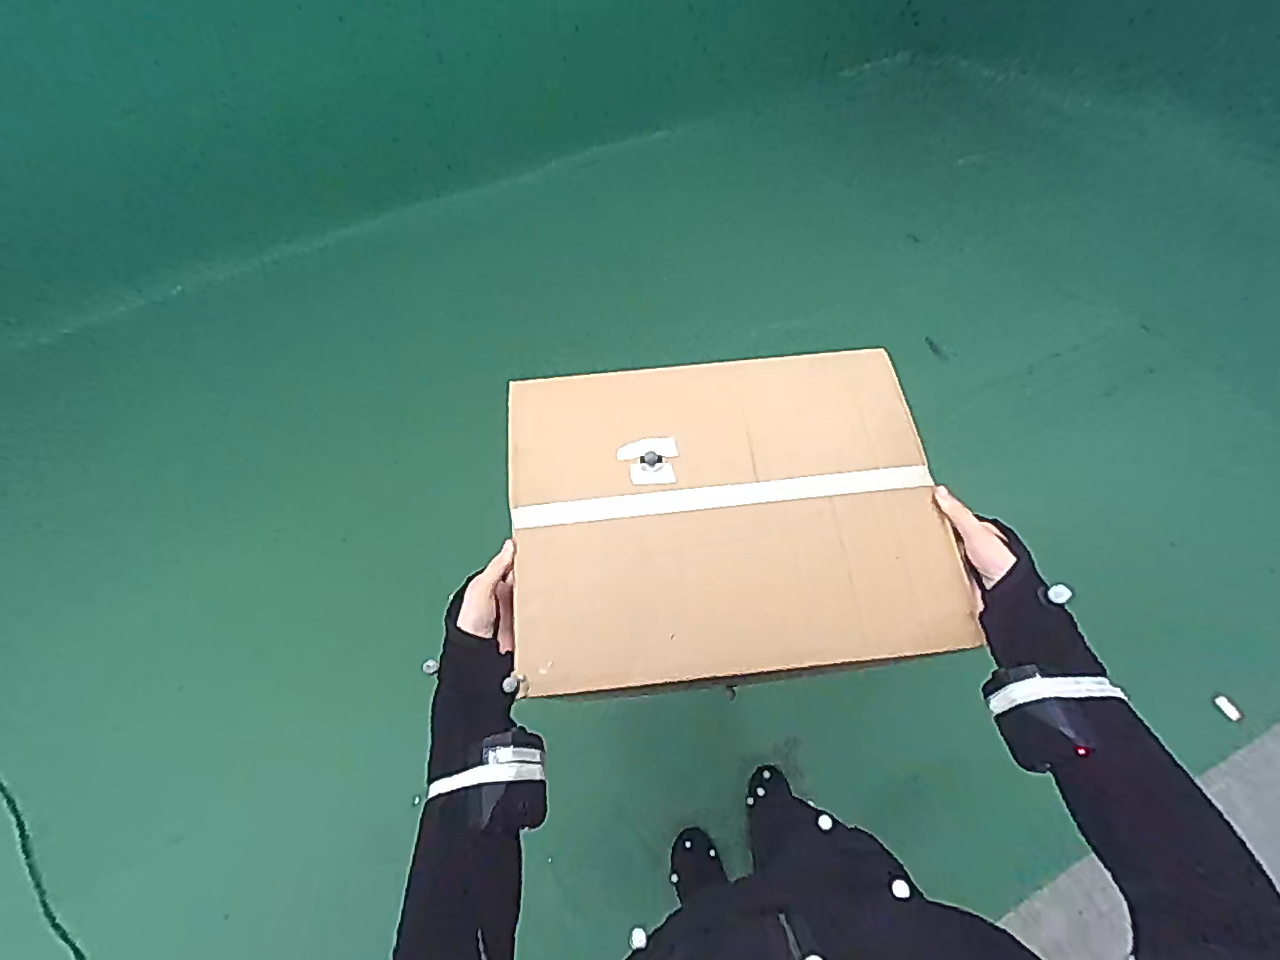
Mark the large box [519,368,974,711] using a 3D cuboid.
[{"bbox_3d":[0.088,0.097,0.664,0.408,0.320,0.320,-6,65,-1],"label":"large box"}]
